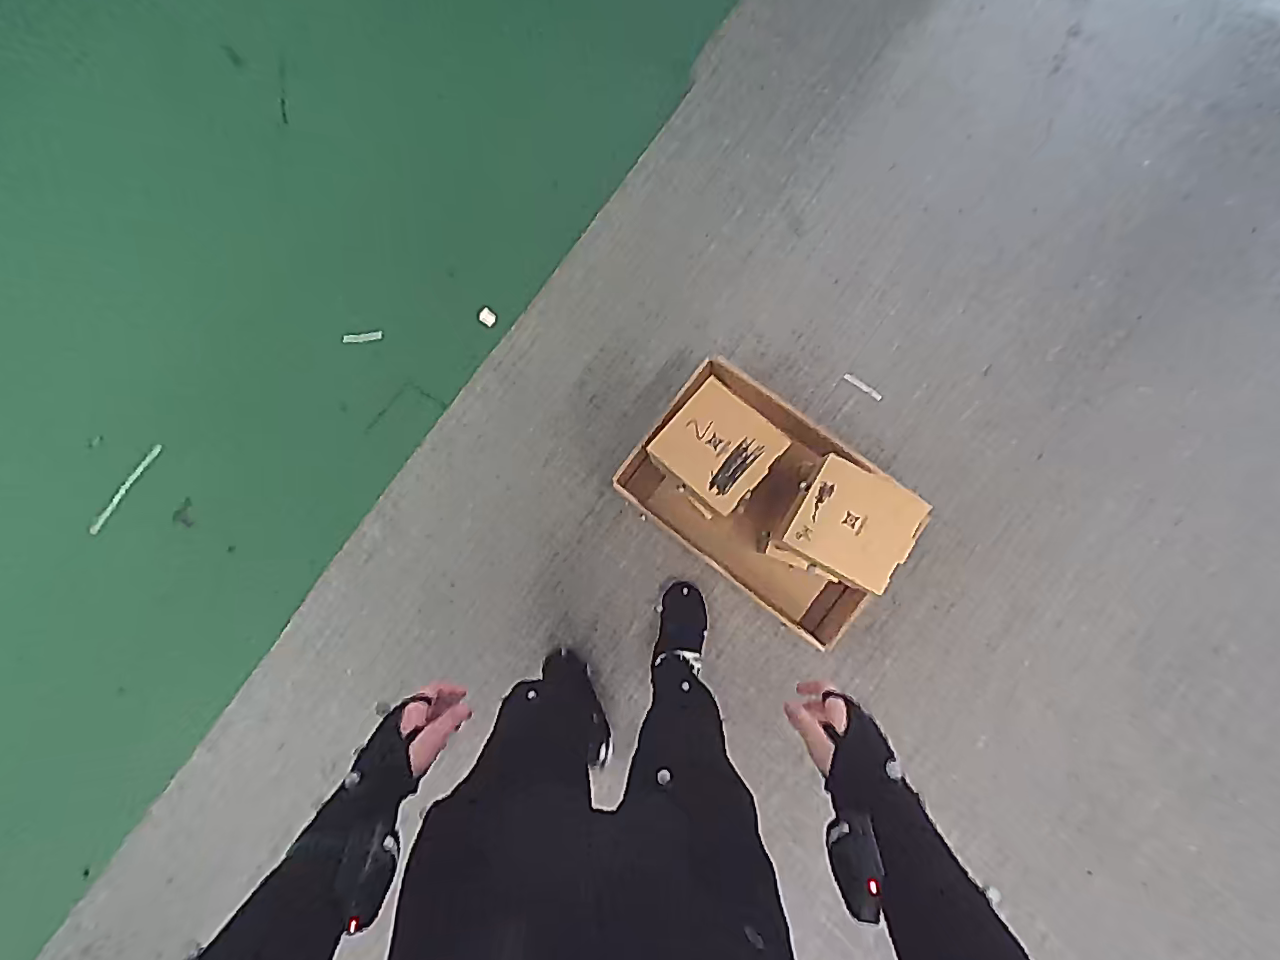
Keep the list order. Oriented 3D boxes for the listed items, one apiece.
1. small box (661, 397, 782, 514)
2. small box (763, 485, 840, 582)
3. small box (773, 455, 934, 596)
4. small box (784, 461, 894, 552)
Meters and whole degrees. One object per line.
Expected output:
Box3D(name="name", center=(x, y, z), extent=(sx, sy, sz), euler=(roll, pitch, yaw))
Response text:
Box3D(name="small box", center=(0.162, -0.040, 1.122), extent=(0.179, 0.176, 0.168), euler=(41, 89, 7))
Box3D(name="small box", center=(0.392, 0.118, 1.247), extent=(0.168, 0.176, 0.179), euler=(21, 86, 8))
Box3D(name="small box", center=(0.352, 0.075, 0.926), extent=(0.179, 0.176, 0.168), euler=(30, 88, 8))
Box3D(name="small box", center=(0.387, 0.072, 1.087), extent=(0.168, 0.176, 0.179), euler=(11, 85, 7))
